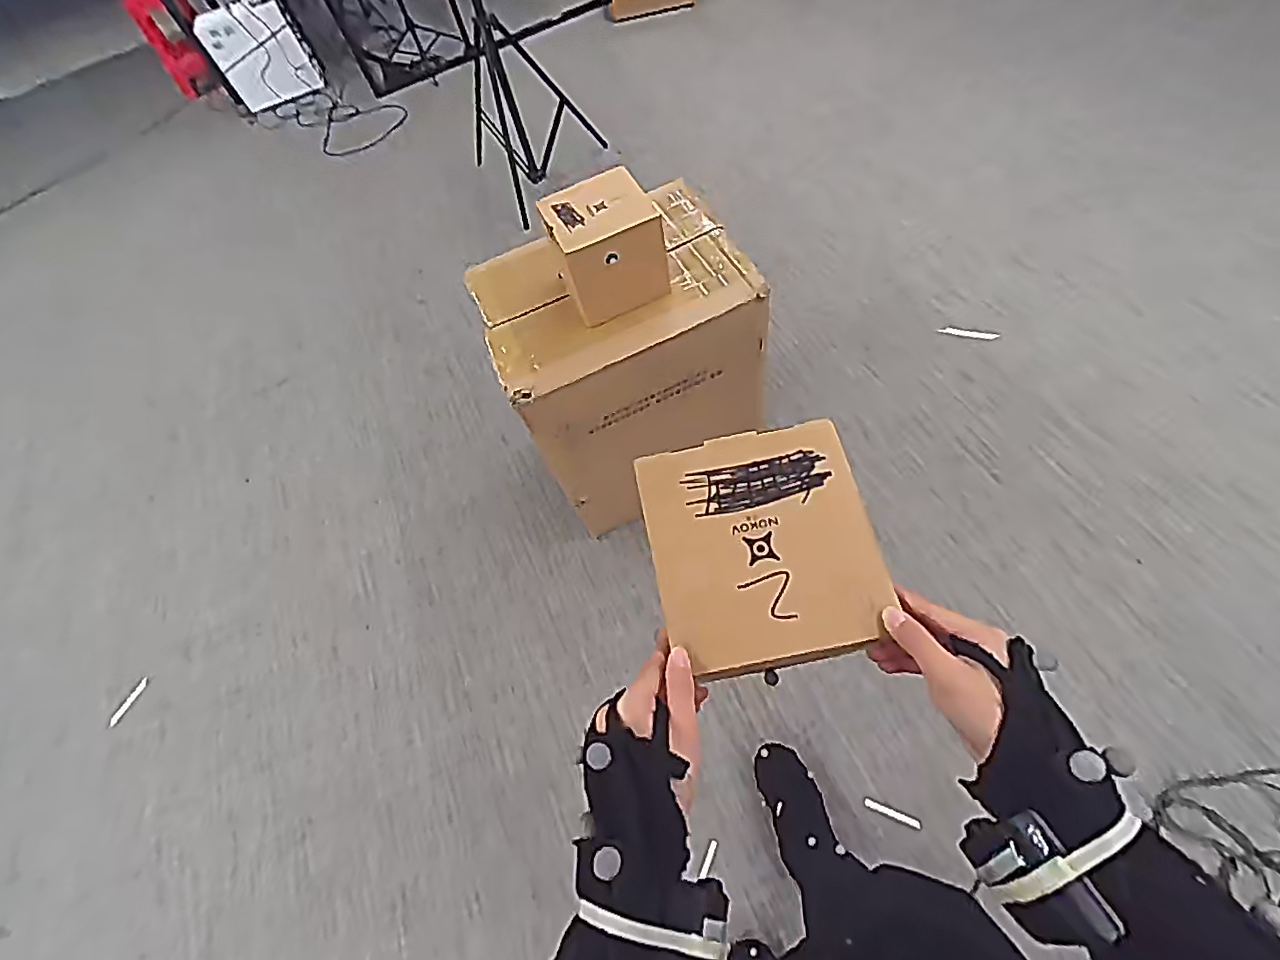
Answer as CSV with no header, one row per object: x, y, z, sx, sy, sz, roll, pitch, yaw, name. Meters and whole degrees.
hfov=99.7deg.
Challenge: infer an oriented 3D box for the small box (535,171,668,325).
-0.065,-0.417,0.989,0.179,0.176,0.168,-25,60,-4,small box
